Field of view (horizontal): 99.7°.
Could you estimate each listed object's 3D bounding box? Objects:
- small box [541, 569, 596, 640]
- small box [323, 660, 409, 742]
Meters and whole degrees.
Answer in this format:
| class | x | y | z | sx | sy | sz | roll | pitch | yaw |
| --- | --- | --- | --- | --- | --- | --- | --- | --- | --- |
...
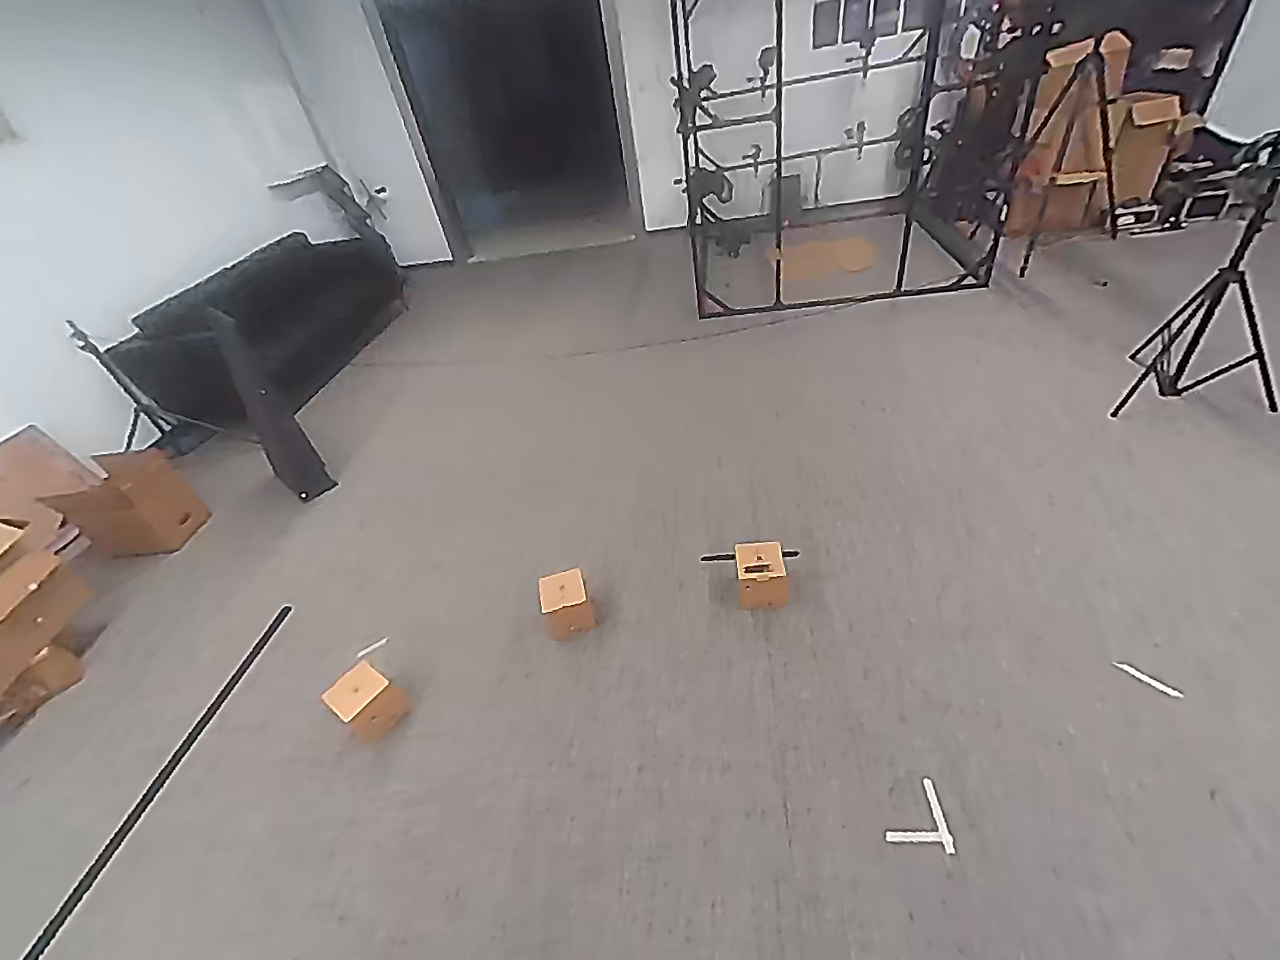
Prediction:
| class | x | y | z | sx | sy | sz | roll | pitch | yaw |
| --- | --- | --- | --- | --- | --- | --- | --- | --- | --- |
| small box | -0.271 | 0.472 | 2.044 | 0.168 | 0.176 | 0.179 | -15 | 38 | -5 |
| small box | -0.926 | 0.758 | 1.840 | 0.179 | 0.176 | 0.168 | 19 | 47 | 33 |
